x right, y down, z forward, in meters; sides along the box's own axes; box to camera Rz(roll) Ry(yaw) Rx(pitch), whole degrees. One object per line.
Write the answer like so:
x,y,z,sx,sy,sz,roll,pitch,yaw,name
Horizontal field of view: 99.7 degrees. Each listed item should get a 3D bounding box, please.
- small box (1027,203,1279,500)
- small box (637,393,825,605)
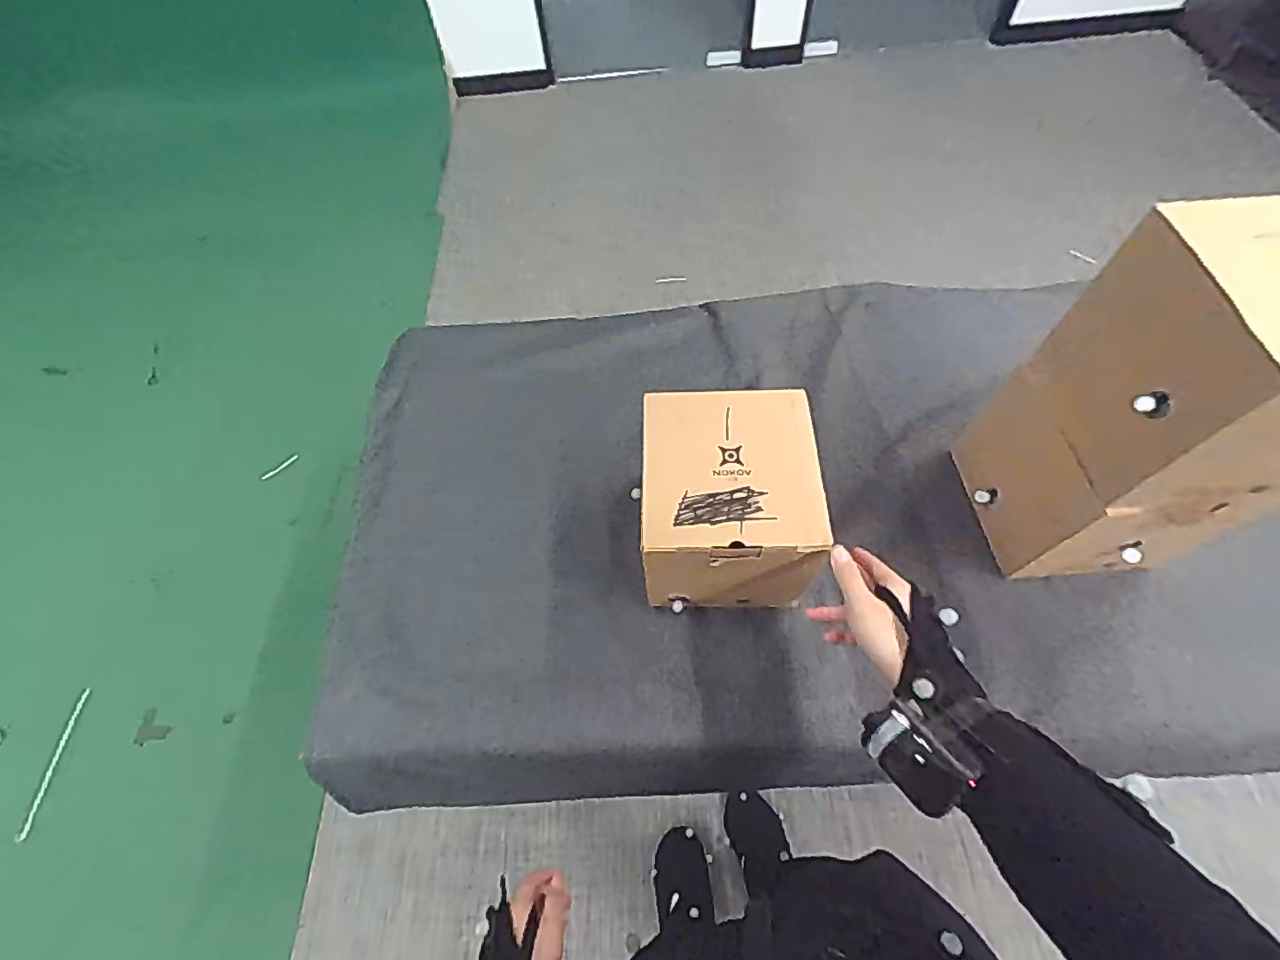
0.465,-0.092,0.434,0.168,0.176,0.179,-3,59,2,small box
0.087,0.028,0.580,0.168,0.176,0.179,-1,59,3,small box
